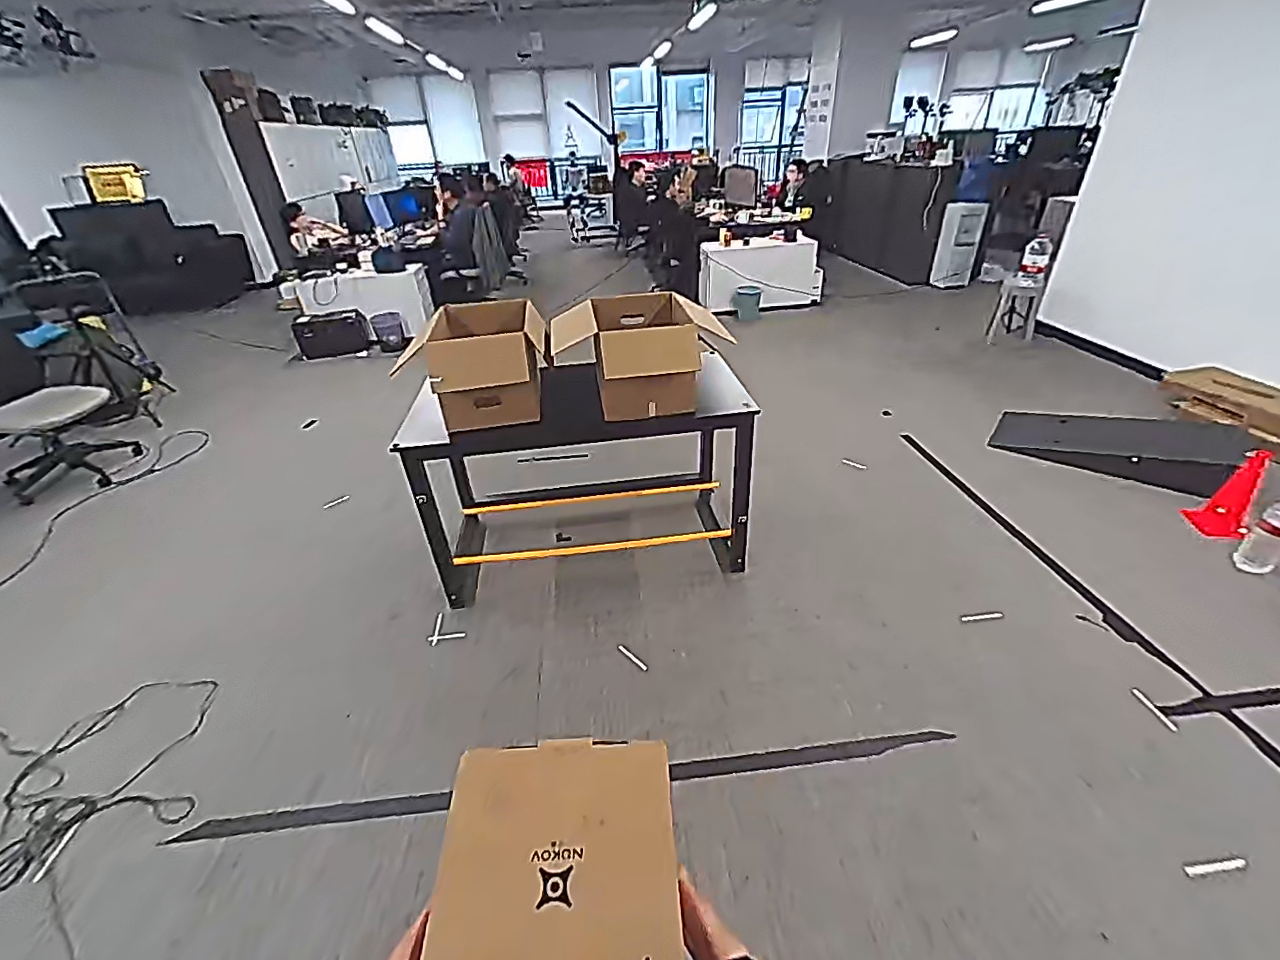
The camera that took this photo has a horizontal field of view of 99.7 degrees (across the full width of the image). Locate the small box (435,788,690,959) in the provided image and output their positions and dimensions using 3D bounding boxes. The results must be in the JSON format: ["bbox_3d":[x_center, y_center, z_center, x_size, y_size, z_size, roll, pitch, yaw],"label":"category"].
[{"bbox_3d":[-0.051,0.361,0.405,0.168,0.176,0.179,-2,39,-2],"label":"small box"}]
